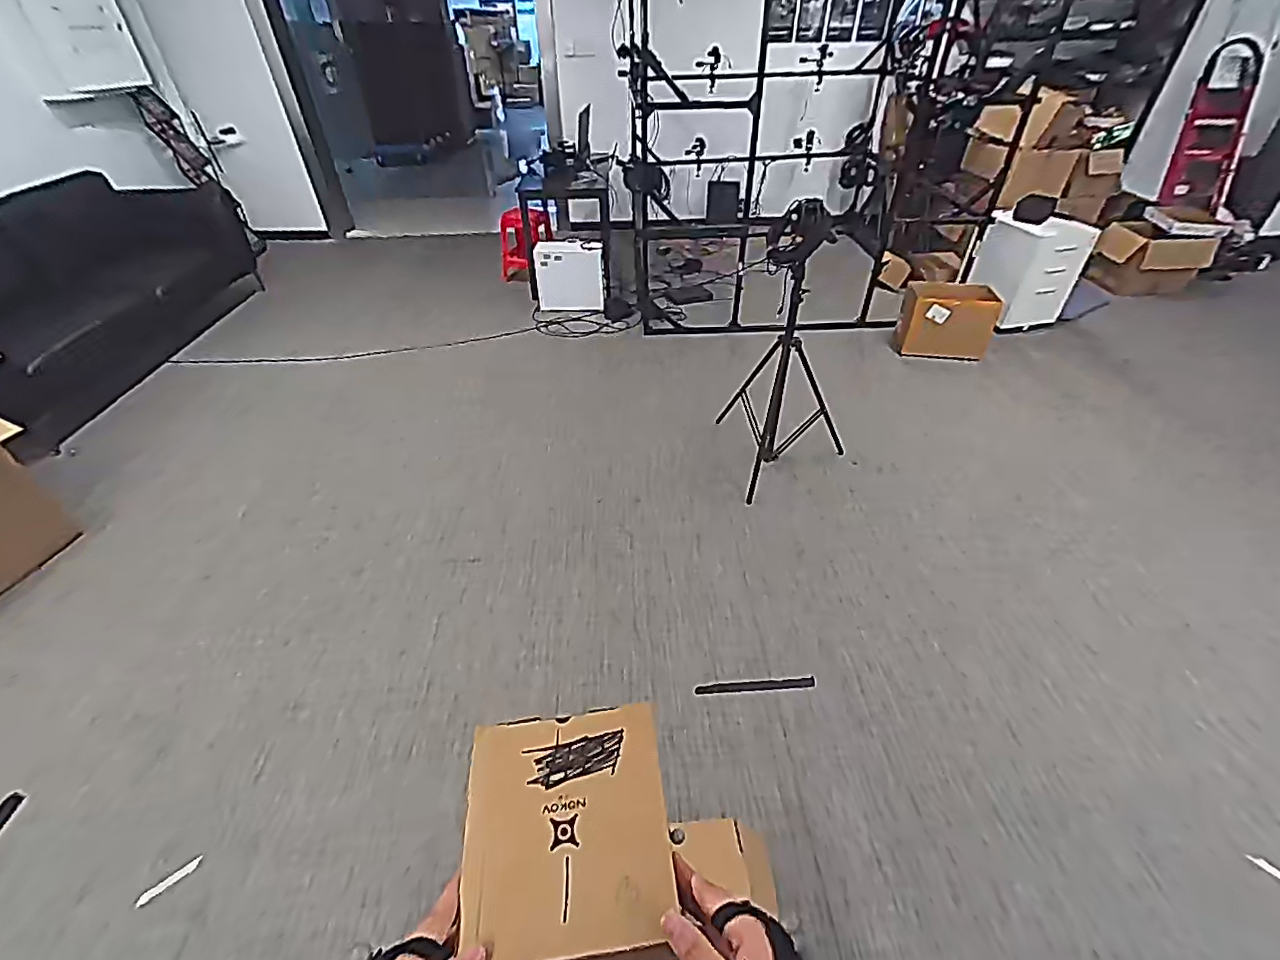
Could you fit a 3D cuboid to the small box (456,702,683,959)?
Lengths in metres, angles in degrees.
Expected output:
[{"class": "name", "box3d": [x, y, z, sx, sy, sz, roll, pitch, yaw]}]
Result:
[{"class": "small box", "box3d": [-0.057, 0.336, 0.501, 0.168, 0.176, 0.179, -7, 44, -3]}]
